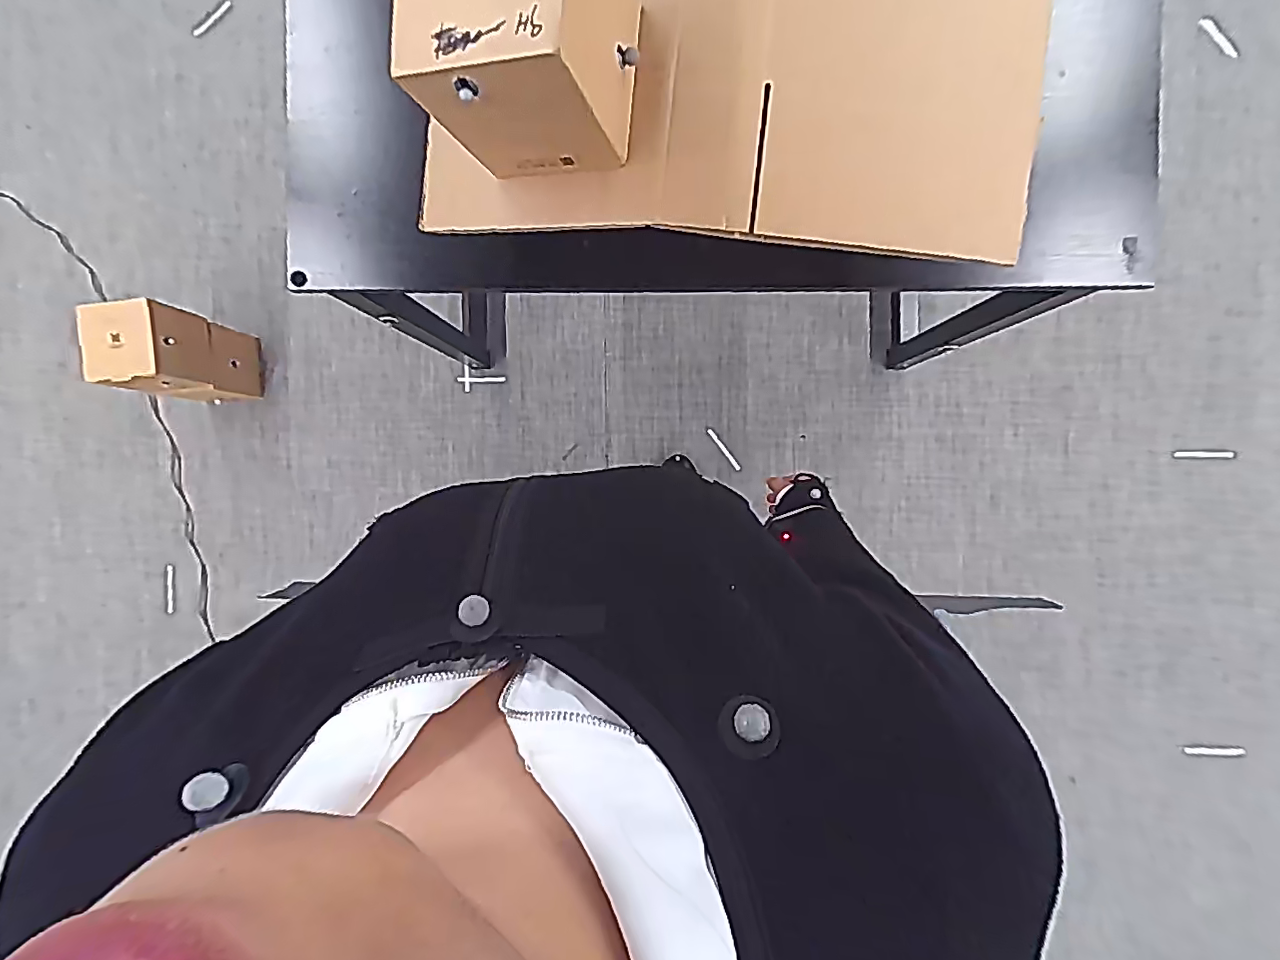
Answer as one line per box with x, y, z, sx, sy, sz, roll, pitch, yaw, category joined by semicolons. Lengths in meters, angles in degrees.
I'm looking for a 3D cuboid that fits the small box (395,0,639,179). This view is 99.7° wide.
-0.106;-0.429;0.529;0.168;0.176;0.179;6;91;18;small box

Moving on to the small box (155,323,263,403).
-1.152;-0.307;1.449;0.168;0.176;0.179;-3;92;2;small box

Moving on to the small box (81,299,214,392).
-1.159;-0.311;1.286;0.168;0.176;0.179;-7;89;1;small box
